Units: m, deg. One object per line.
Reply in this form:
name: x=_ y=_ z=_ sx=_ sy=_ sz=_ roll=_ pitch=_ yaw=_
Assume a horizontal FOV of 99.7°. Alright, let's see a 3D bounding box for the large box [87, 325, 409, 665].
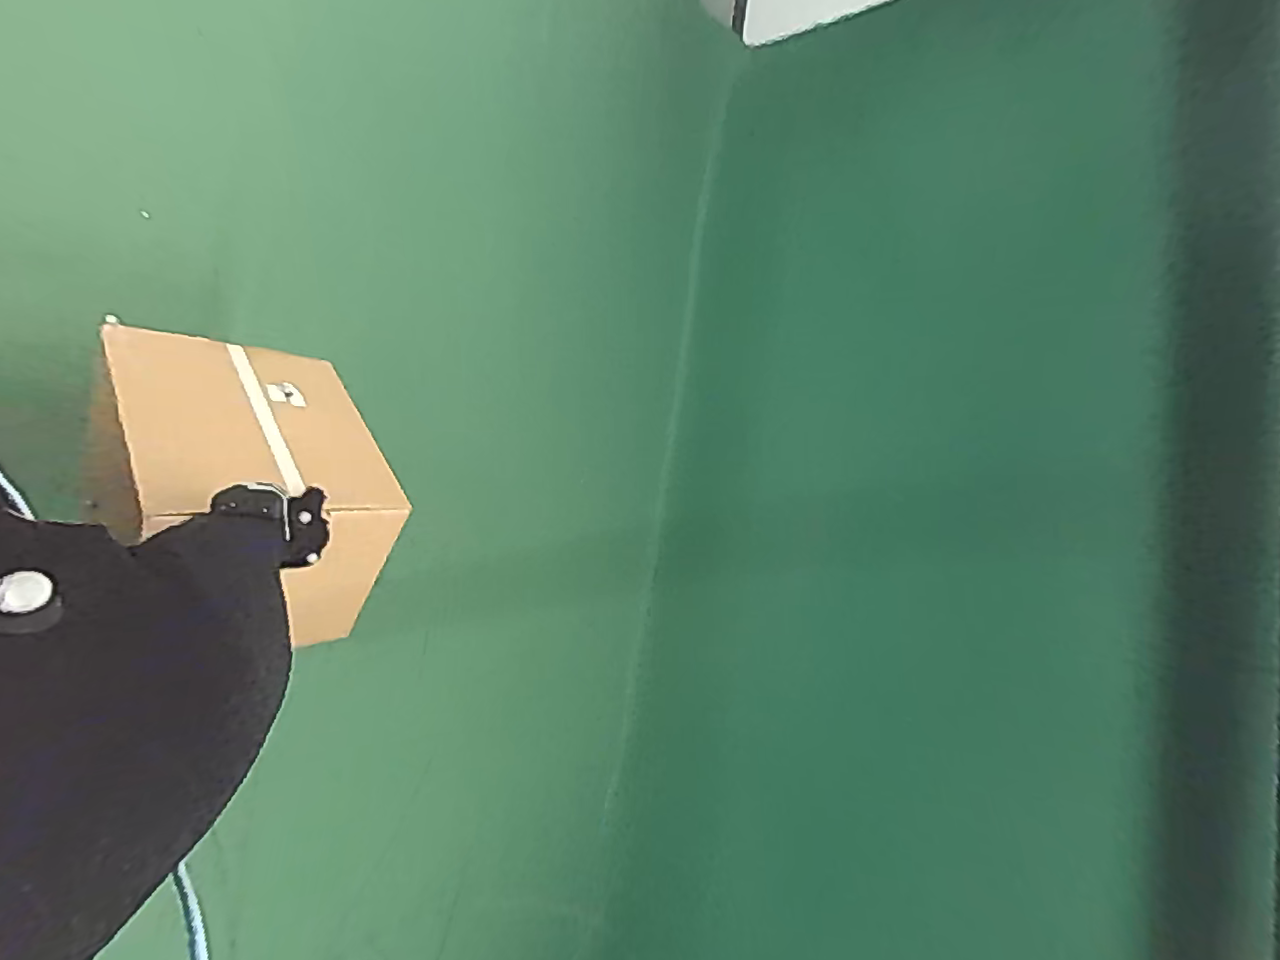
large box: x=-0.646 y=0.013 z=0.879 sx=0.320 sy=0.408 sz=0.320 roll=0 pitch=131 yaw=-53
